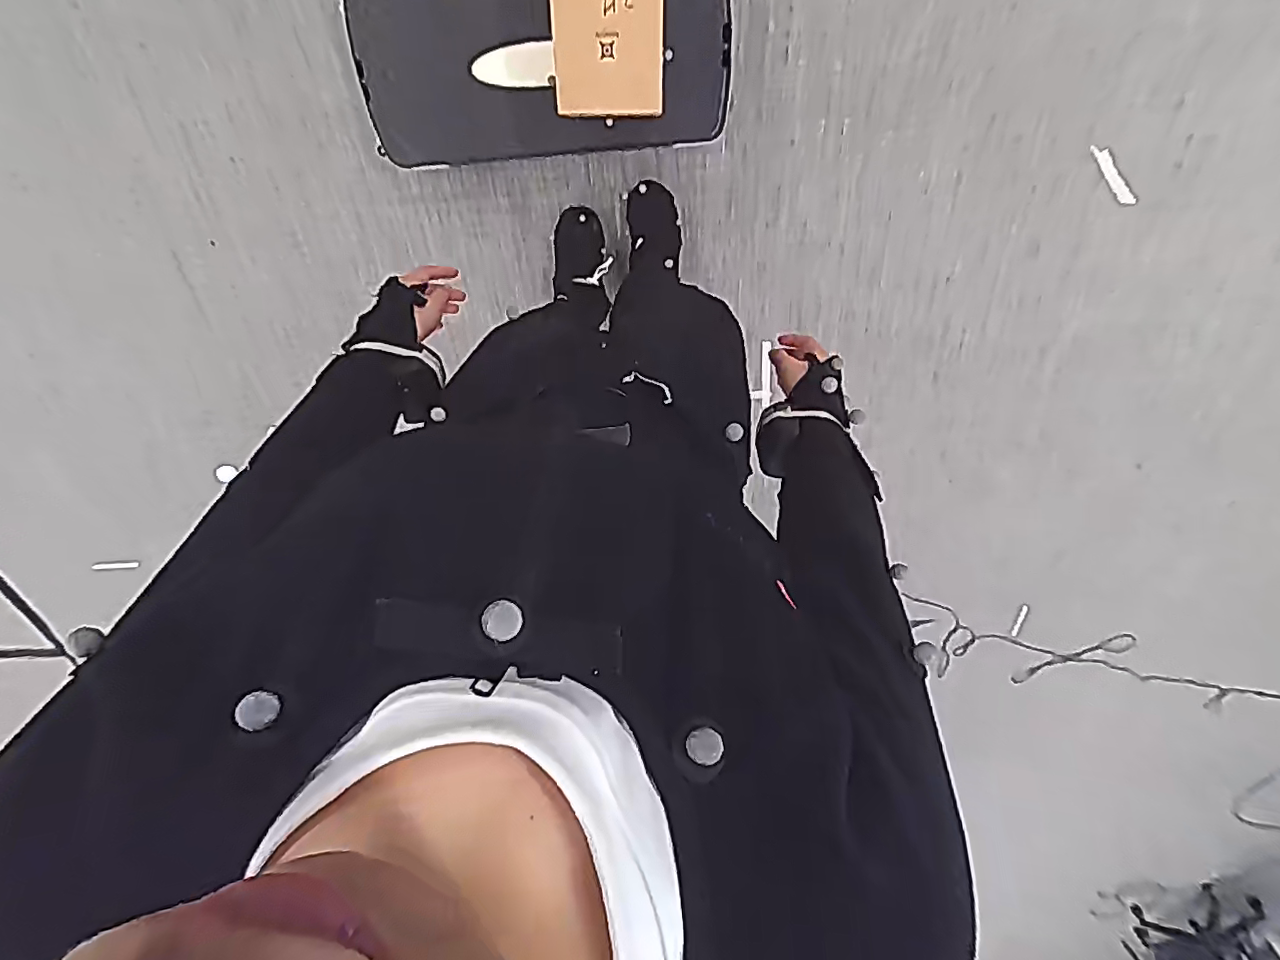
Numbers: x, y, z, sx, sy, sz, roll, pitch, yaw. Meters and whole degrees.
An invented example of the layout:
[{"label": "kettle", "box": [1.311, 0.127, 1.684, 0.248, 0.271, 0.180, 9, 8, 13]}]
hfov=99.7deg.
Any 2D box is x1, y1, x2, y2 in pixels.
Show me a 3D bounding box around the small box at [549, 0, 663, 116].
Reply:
[{"label": "small box", "box": [-0.048, -0.690, 0.866, 0.168, 0.176, 0.179, 0, 122, 0]}]
